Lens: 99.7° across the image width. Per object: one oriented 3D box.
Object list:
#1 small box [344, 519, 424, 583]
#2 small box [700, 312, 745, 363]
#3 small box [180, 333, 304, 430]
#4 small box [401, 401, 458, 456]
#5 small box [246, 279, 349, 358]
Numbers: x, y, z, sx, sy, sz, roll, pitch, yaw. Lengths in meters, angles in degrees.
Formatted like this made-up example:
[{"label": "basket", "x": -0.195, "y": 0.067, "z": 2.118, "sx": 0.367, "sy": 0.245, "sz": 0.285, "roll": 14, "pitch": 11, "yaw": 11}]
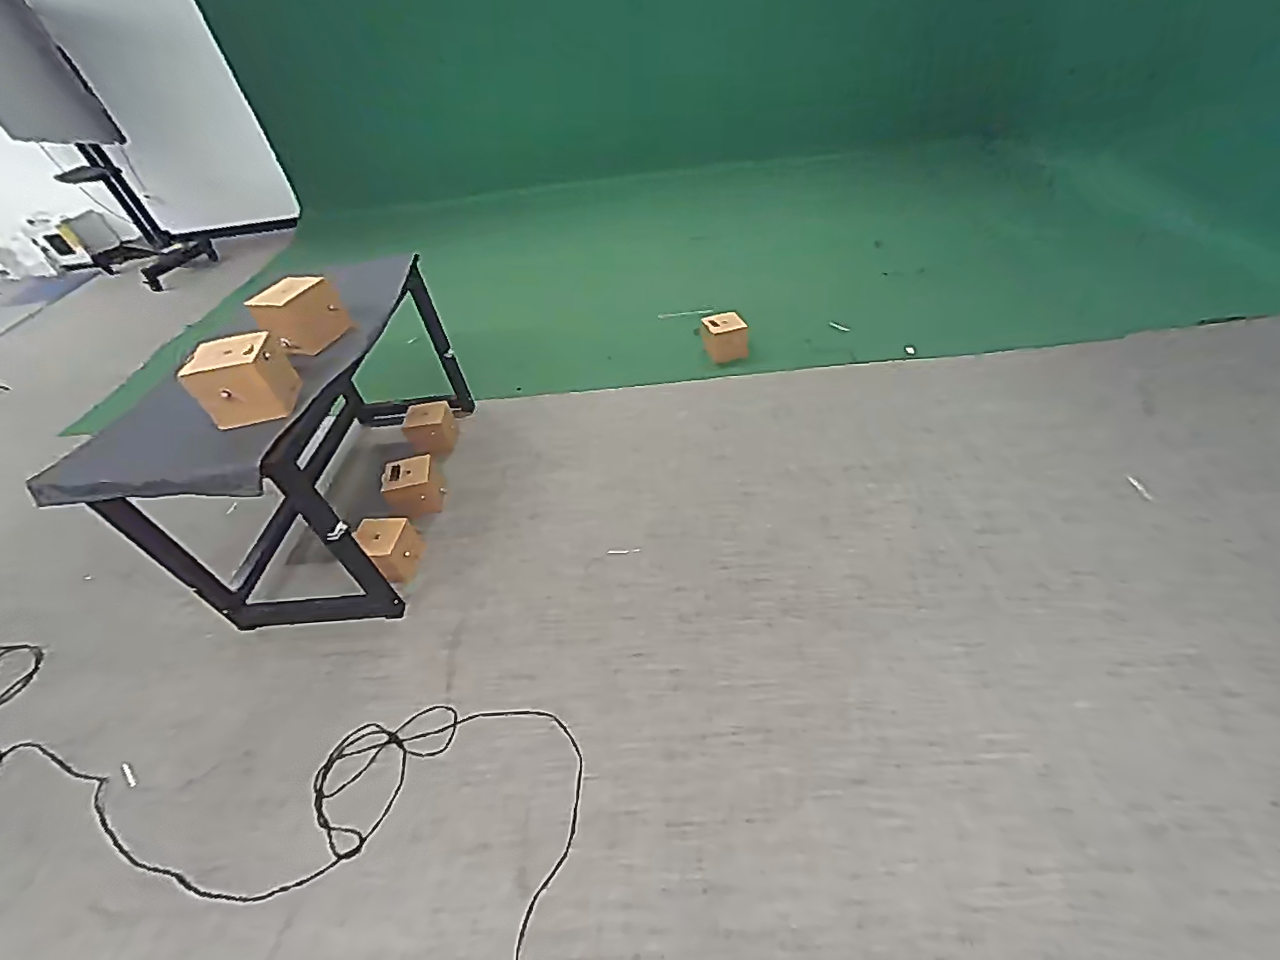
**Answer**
[{"label": "small box", "x": -0.898, "y": 0.255, "z": 1.918, "sx": 0.179, "sy": 0.176, "sz": 0.168, "roll": -3, "pitch": 45, "yaw": 7}, {"label": "small box", "x": 0.404, "y": -0.696, "z": 2.650, "sx": 0.179, "sy": 0.176, "sz": 0.168, "roll": -16, "pitch": 45, "yaw": -8}, {"label": "small box", "x": -1.021, "y": -0.252, "z": 1.404, "sx": 0.179, "sy": 0.176, "sz": 0.168, "roll": -14, "pitch": 45, "yaw": -5}, {"label": "small box", "x": -0.925, "y": -0.226, "z": 2.398, "sx": 0.179, "sy": 0.176, "sz": 0.168, "roll": -9, "pitch": 44, "yaw": 1}, {"label": "small box", "x": -1.031, "y": -0.496, "z": 1.652, "sx": 0.168, "sy": 0.176, "sz": 0.179, "roll": 7, "pitch": 48, "yaw": 20}]
